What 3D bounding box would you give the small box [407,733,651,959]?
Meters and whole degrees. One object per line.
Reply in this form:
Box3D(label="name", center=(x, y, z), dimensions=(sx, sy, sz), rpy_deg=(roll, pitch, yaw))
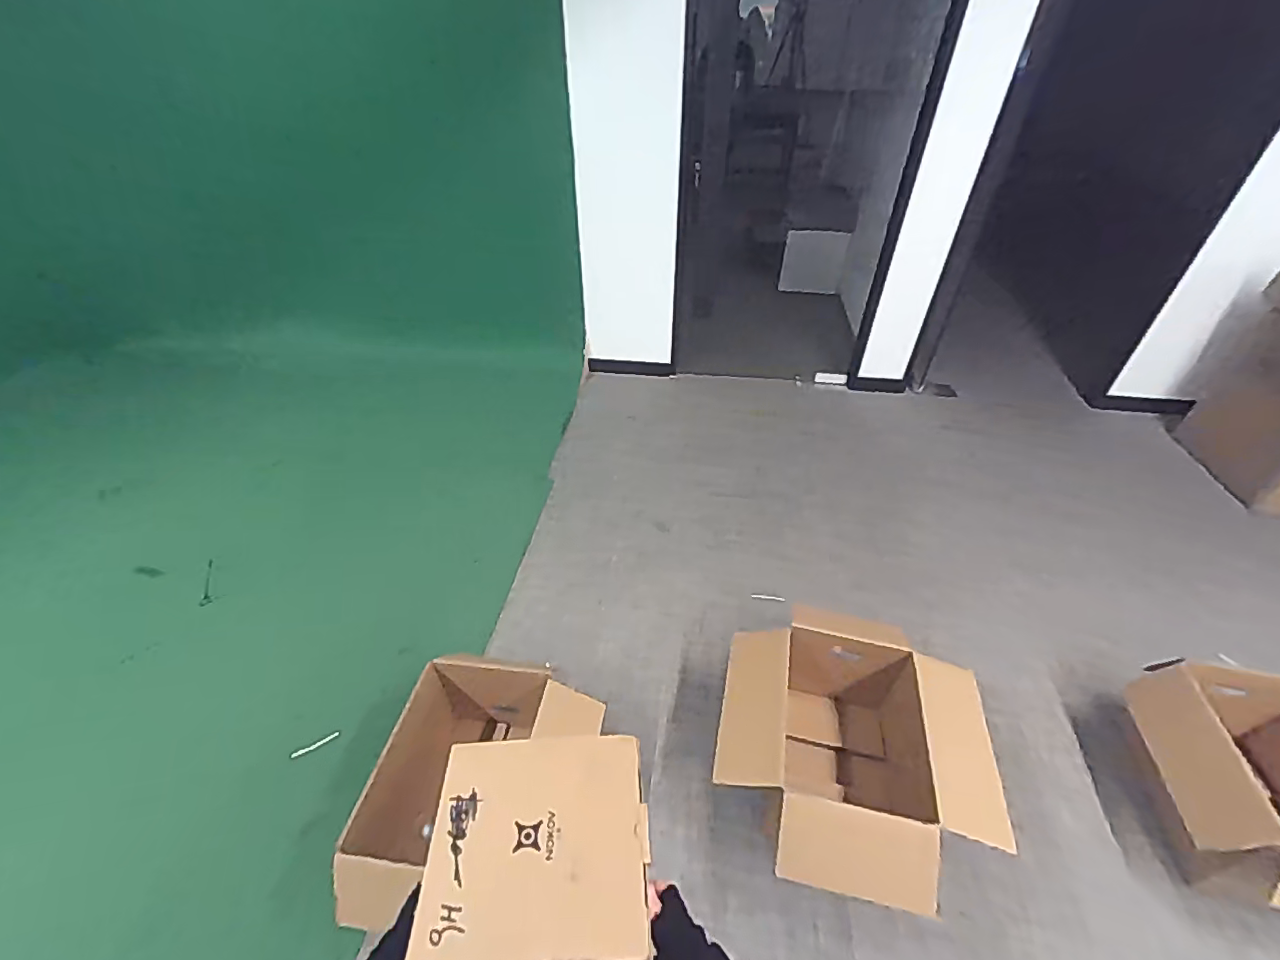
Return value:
Box3D(label="small box", center=(-0.086, 0.356, 0.497), dimensions=(0.179, 0.176, 0.168), rpy_deg=(1, 36, -4))
